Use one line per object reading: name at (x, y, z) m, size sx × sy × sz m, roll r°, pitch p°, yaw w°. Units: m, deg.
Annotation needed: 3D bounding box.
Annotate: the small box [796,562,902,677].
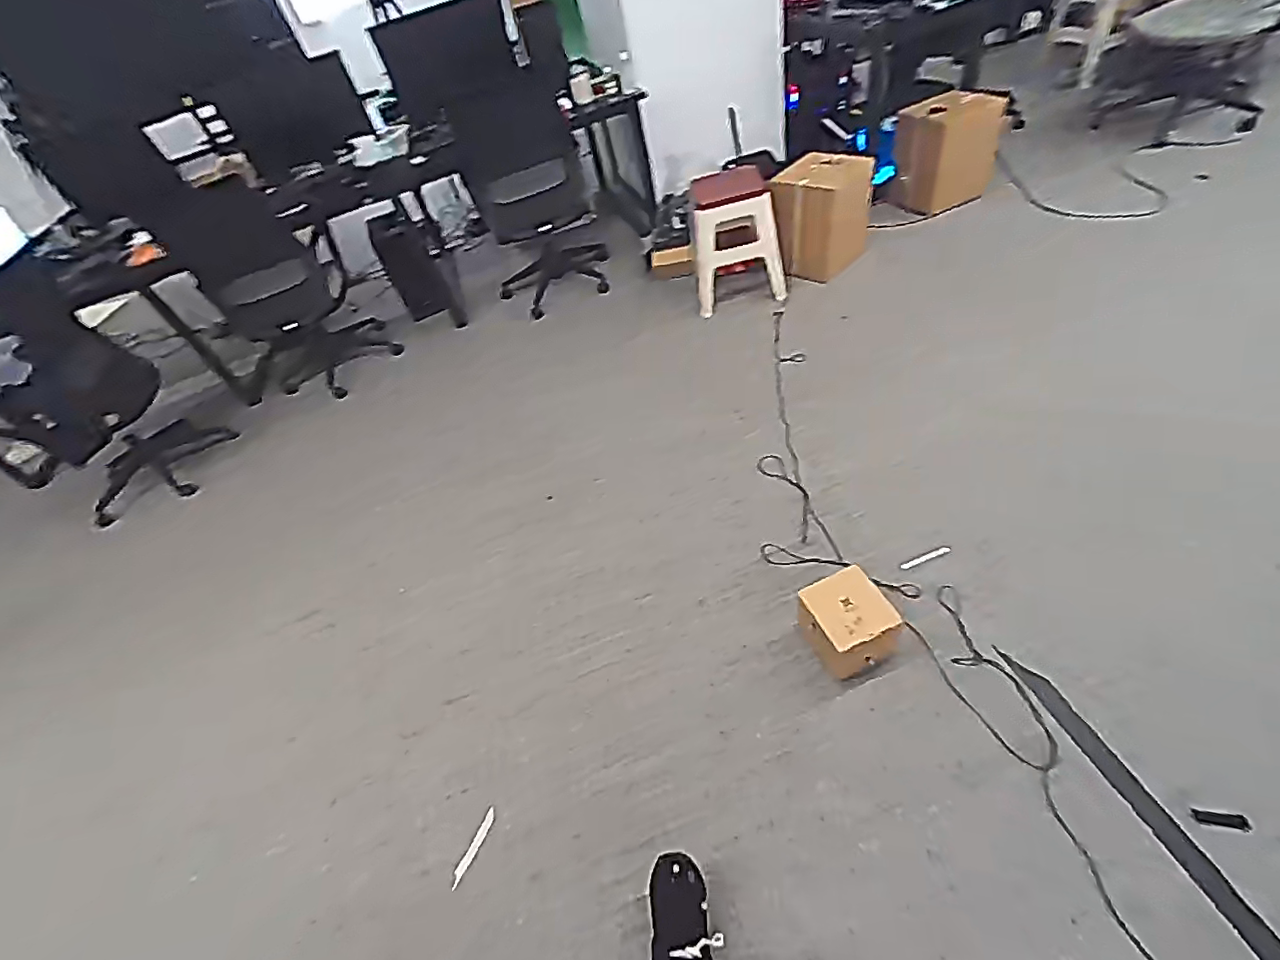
small box at (0.491, 0.337, 1.296) m, size 0.168 × 0.176 × 0.179 m, roll -25°, pitch 47°, yaw -5°
